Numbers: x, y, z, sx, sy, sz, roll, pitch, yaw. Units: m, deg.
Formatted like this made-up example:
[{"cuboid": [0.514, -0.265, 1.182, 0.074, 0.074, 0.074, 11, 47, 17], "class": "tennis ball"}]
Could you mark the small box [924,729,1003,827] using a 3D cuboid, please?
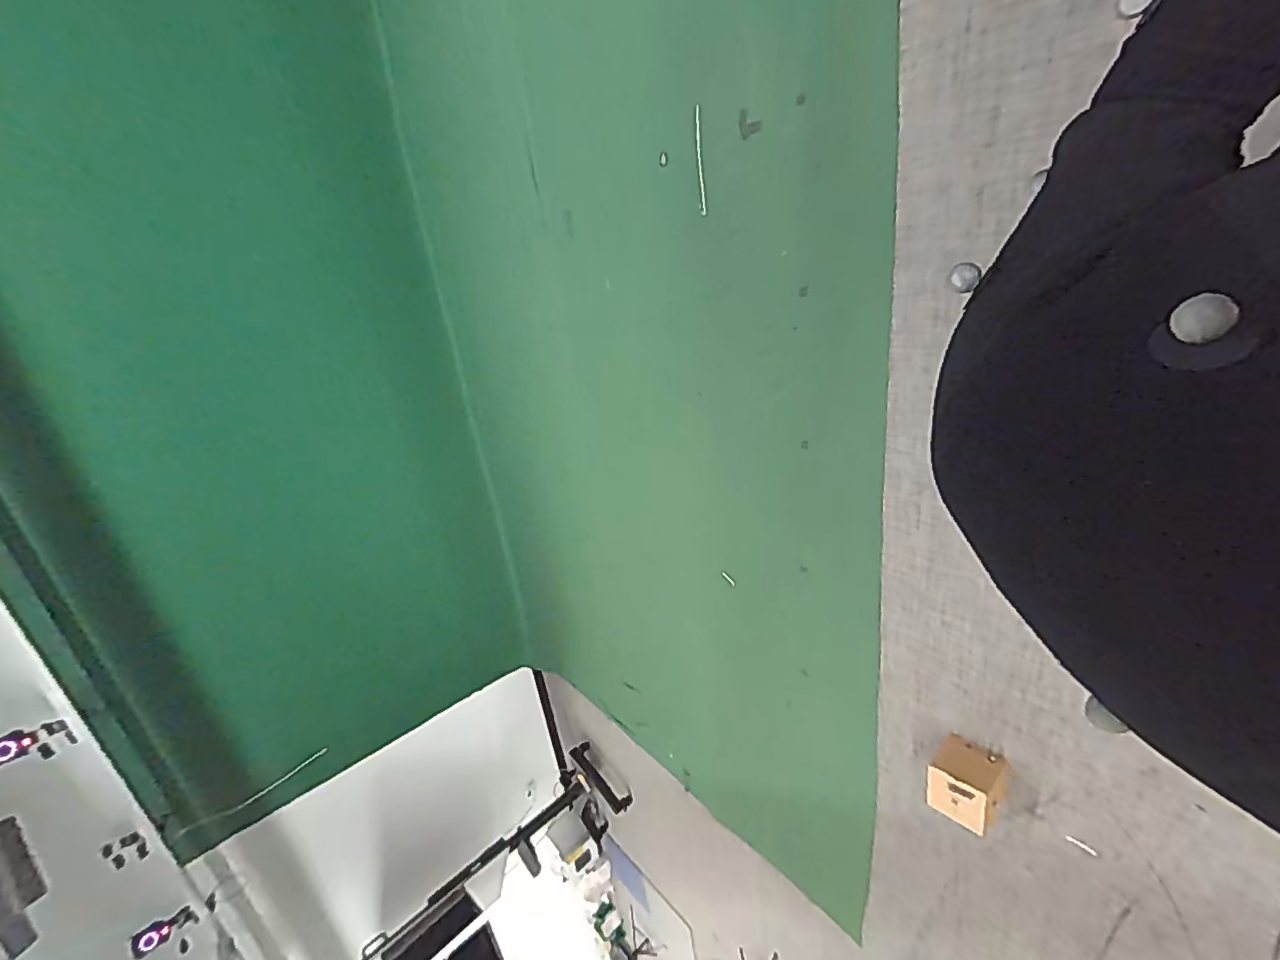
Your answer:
[{"cuboid": [1.023, 0.931, 1.708, 0.168, 0.176, 0.179, 16, 122, 49], "class": "small box"}]
